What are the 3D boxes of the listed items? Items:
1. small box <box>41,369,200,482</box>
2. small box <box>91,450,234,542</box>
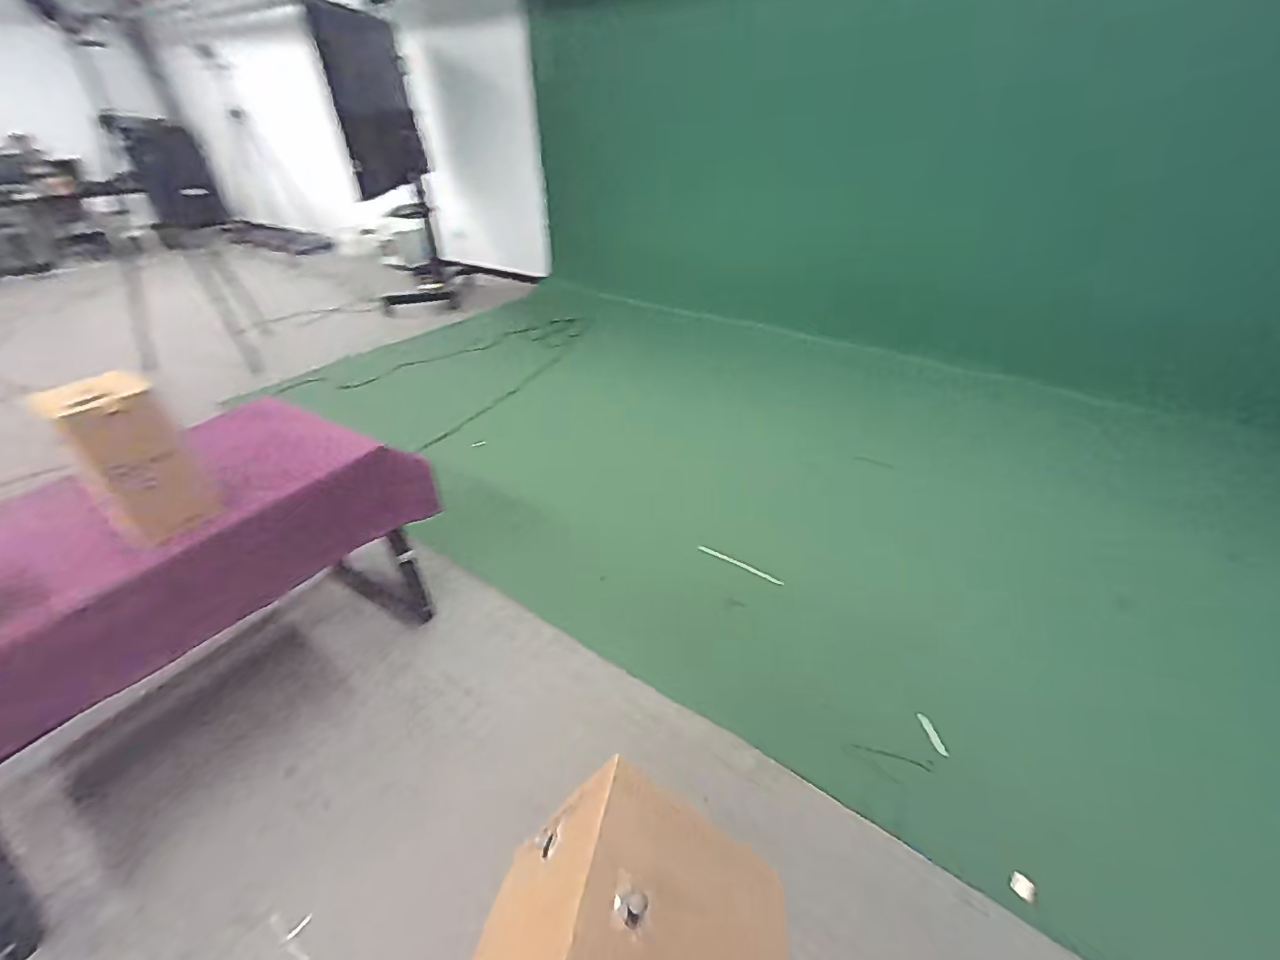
[{"bbox_3d":[-1.110,-0.116,1.168,0.179,0.176,0.168,19,40,27],"label":"small box"},{"bbox_3d":[-1.106,0.019,1.263,0.179,0.176,0.168,19,42,28],"label":"small box"}]
